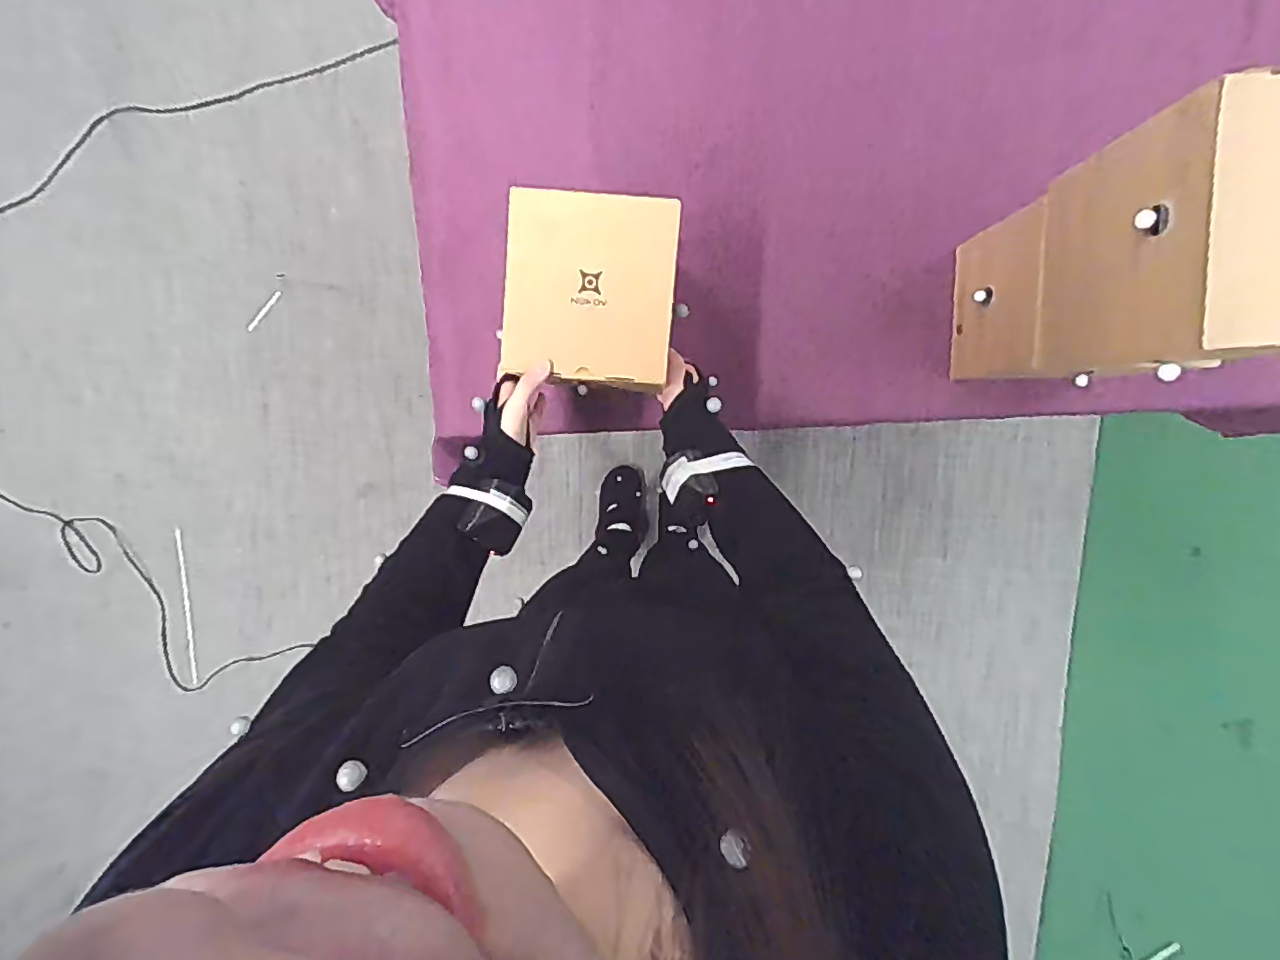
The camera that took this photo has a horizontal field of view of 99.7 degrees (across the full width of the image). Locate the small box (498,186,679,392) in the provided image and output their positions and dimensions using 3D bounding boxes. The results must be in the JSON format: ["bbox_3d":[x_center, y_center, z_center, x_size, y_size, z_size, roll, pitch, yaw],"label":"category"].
[{"bbox_3d":[-0.051,-0.195,0.601,0.168,0.176,0.179,5,97,1],"label":"small box"}]

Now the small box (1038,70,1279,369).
[{"bbox_3d":[0.457,-0.188,0.432,0.168,0.176,0.179,-2,97,5],"label":"small box"}]

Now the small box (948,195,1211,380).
[{"bbox_3d":[0.468,-0.198,0.596,0.179,0.176,0.168,0,97,4],"label":"small box"}]
